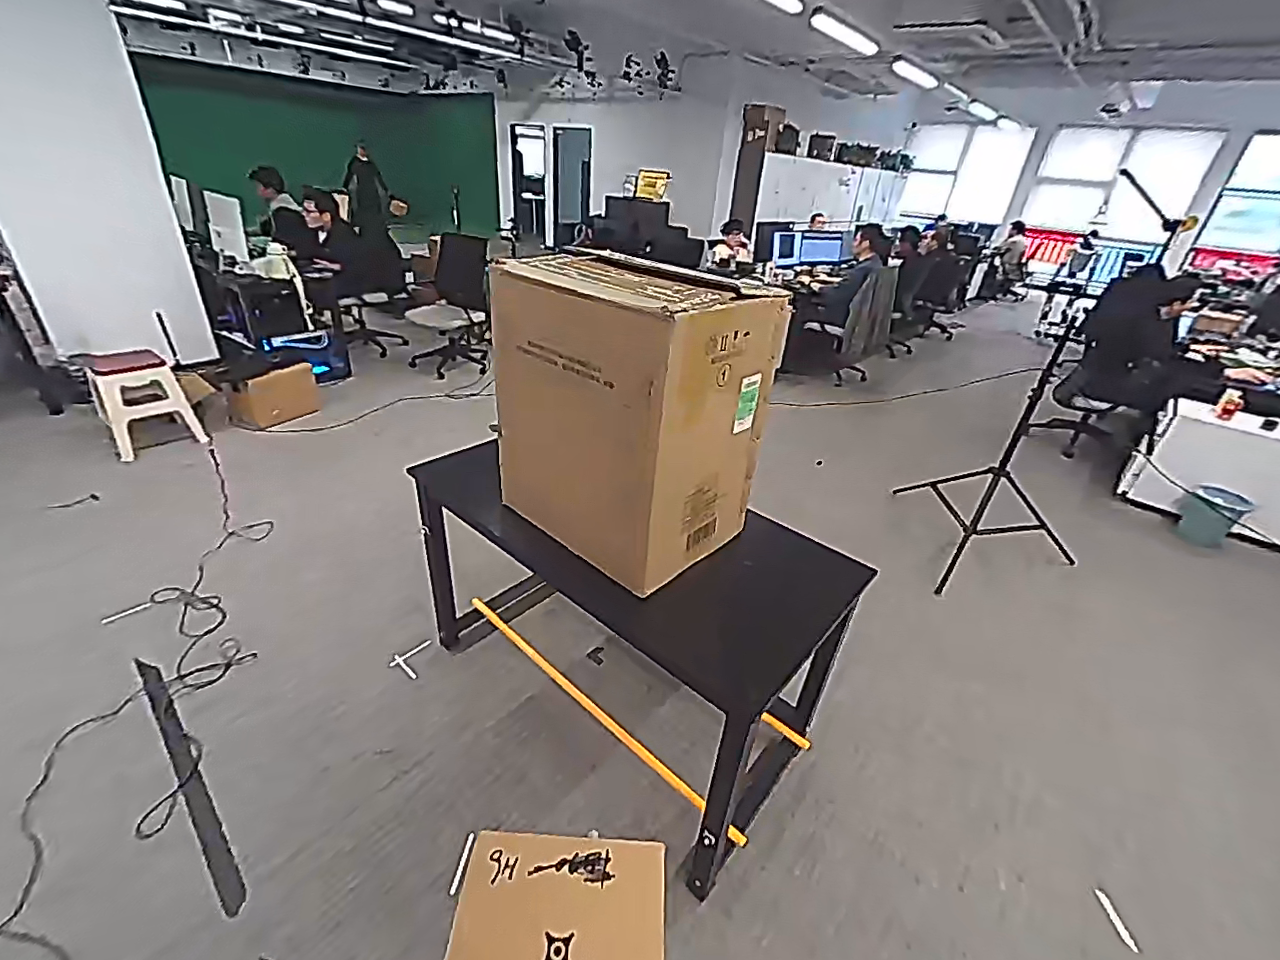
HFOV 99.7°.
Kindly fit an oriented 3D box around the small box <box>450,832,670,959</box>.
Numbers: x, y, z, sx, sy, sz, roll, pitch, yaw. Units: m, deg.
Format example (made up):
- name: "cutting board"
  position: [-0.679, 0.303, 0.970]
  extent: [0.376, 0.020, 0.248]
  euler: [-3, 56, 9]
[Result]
- name: "small box"
  position: [-0.062, 0.423, 0.443]
  extent: [0.168, 0.176, 0.179]
  euler: [3, 36, 0]
